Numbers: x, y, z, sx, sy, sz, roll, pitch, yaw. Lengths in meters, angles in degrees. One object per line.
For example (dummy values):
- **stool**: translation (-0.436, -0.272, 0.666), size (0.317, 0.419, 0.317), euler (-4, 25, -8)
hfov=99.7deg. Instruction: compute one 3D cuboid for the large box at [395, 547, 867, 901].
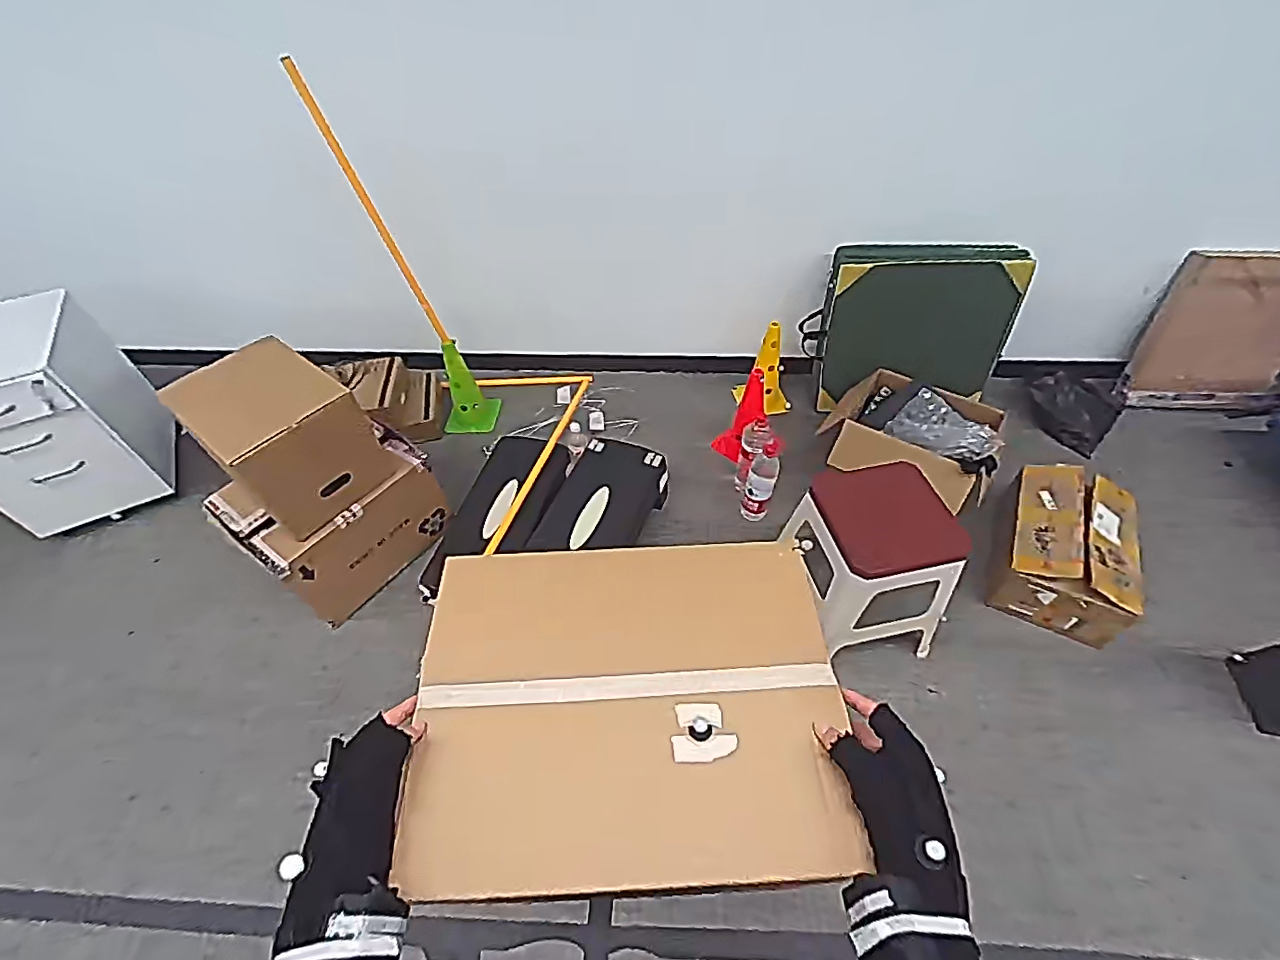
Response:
- **large box**: translation (-0.012, 0.300, 0.655), size (0.408, 0.320, 0.320), euler (-2, 52, -1)
